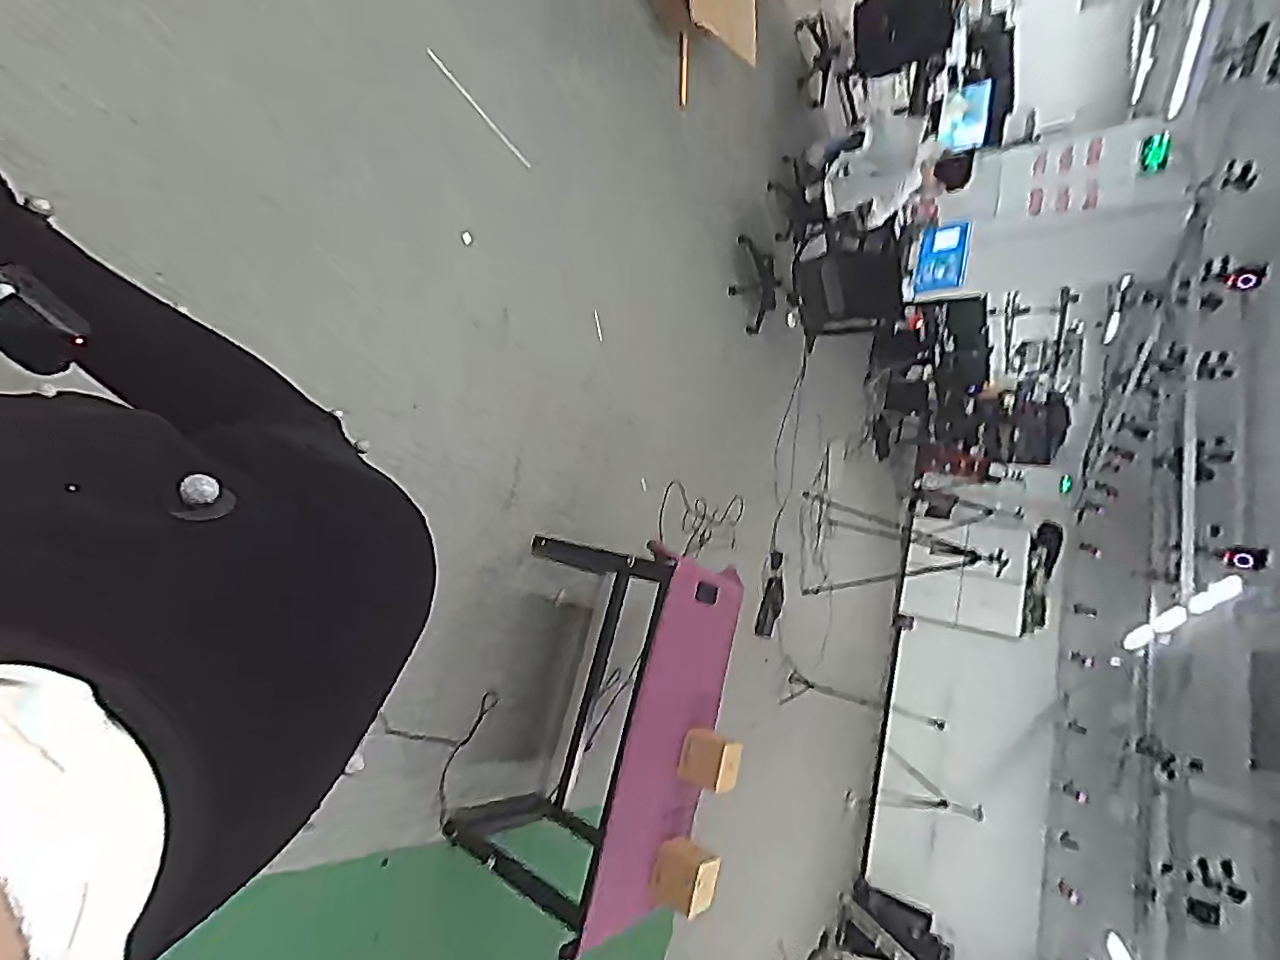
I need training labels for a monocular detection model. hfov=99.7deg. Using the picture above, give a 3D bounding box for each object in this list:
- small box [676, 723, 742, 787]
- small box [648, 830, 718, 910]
[{"bbox_3d":[0.260,1.027,2.035,0.179,0.176,0.168,33,68,-51],"label":"small box"},{"bbox_3d":[0.154,1.392,1.944,0.179,0.176,0.168,35,66,-51],"label":"small box"}]
